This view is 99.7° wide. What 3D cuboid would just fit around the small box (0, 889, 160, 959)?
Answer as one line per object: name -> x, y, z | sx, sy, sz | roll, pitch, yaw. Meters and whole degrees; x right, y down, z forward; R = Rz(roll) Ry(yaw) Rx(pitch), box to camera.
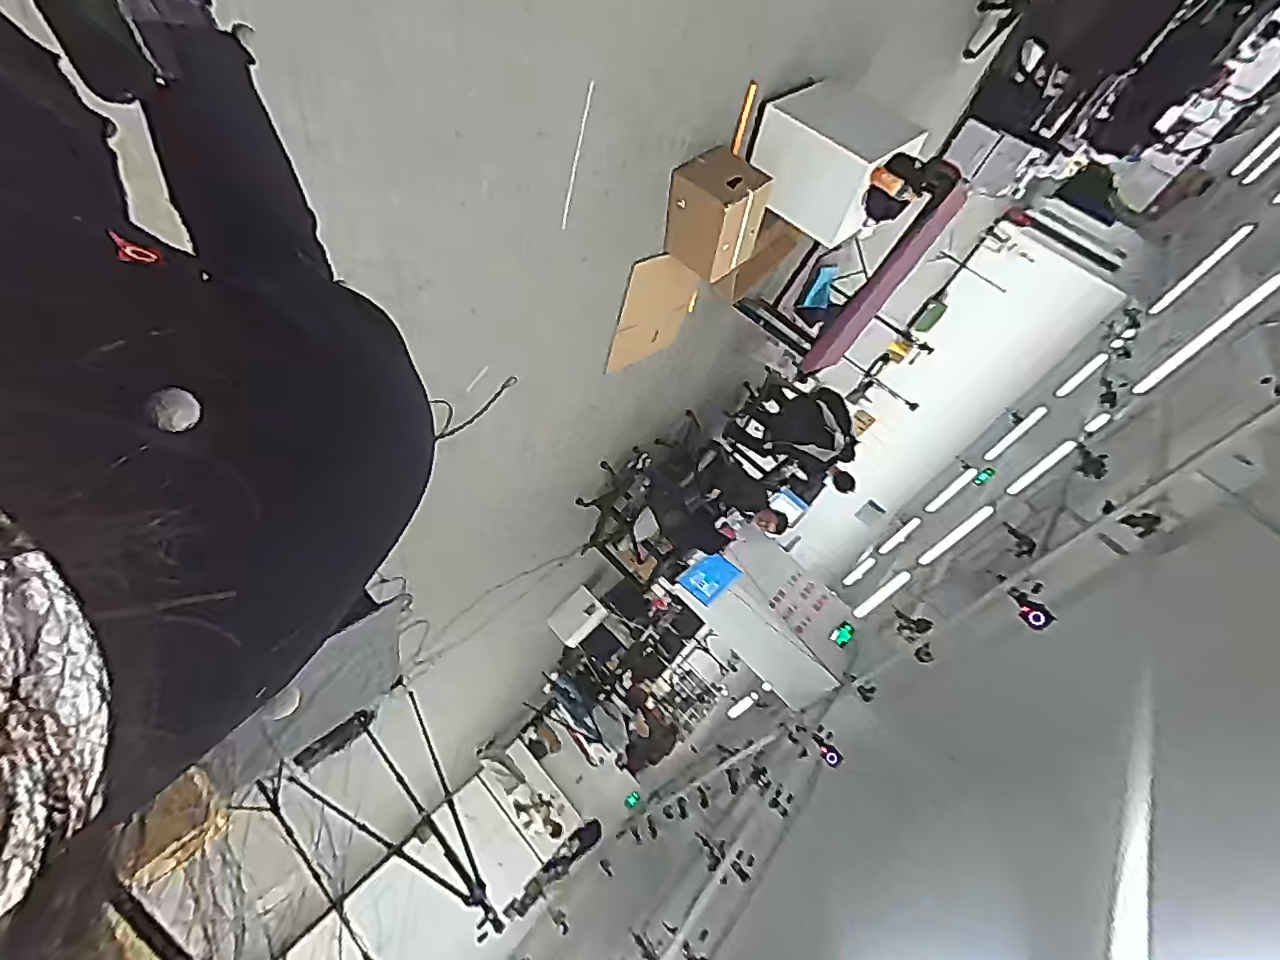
small box -> -1.120, 0.960, 1.077 | 0.168, 0.176, 0.179 | -33, 160, -38
